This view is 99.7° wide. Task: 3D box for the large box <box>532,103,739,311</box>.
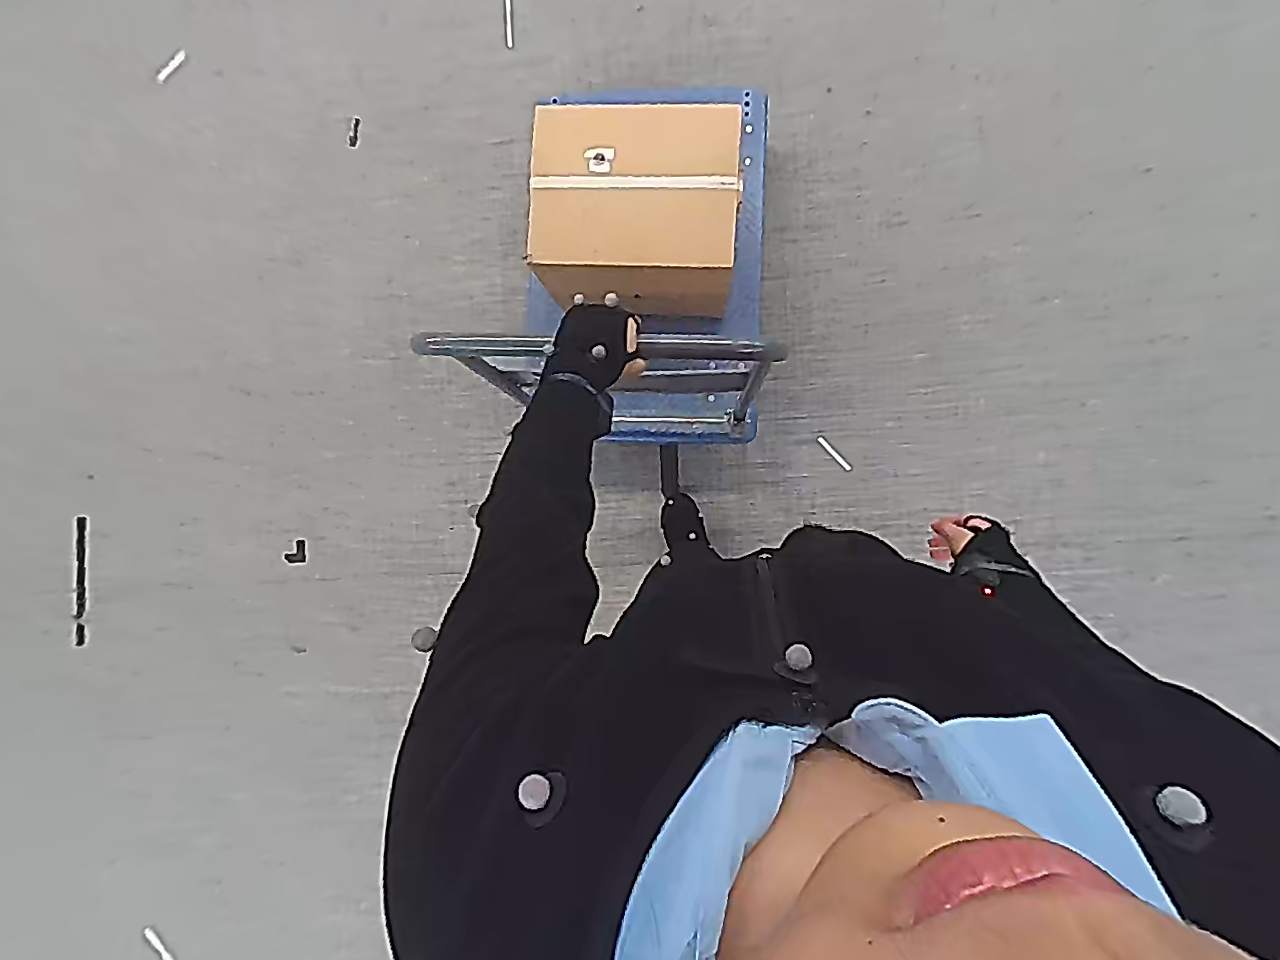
[{"bbox_3d":[0.008,-0.573,1.200,0.408,0.320,0.320,3,89,7],"label":"large box"}]
